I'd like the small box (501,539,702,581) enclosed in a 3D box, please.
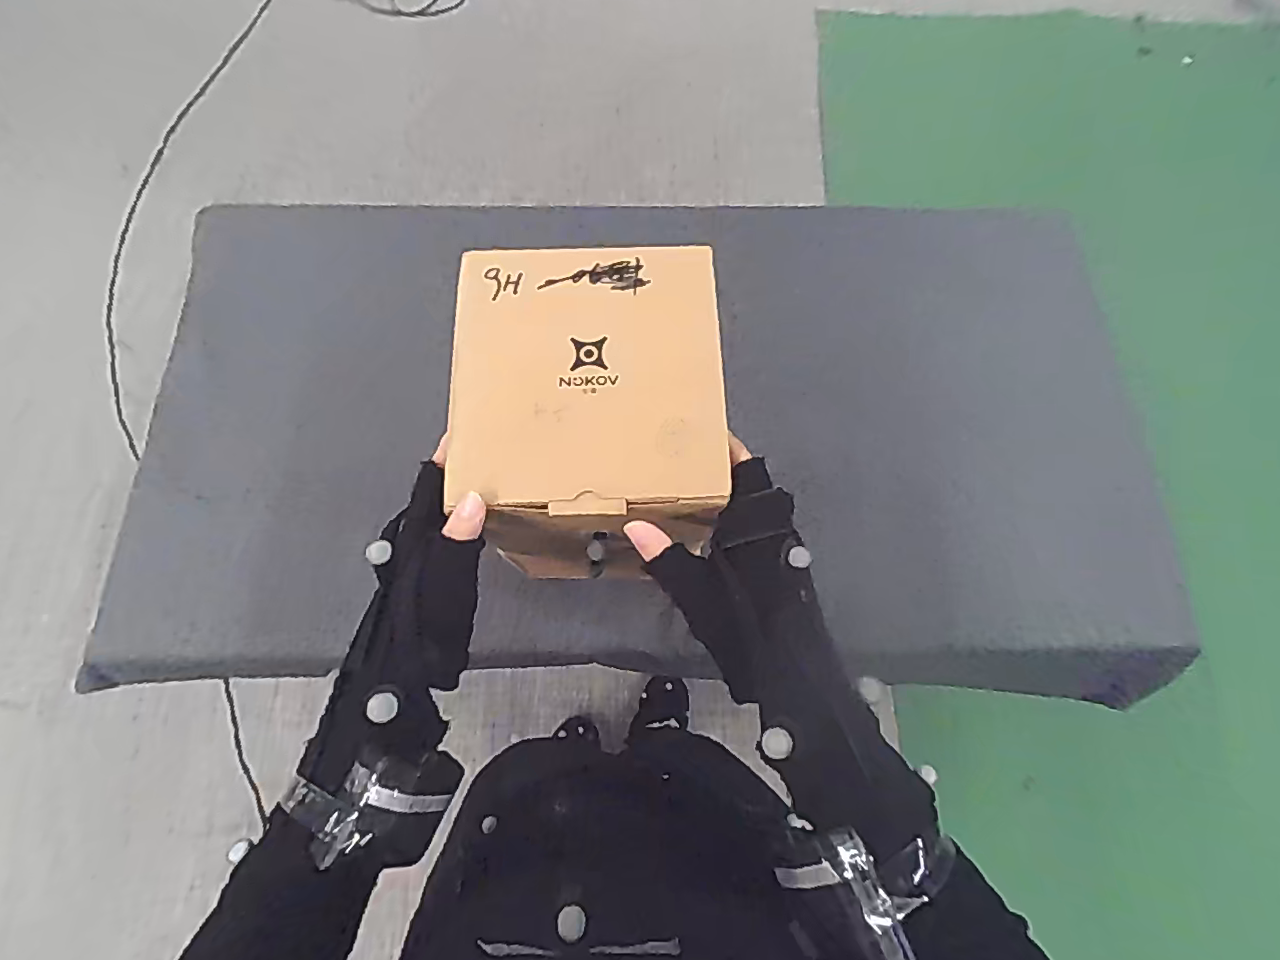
[{"bbox_3d":[-0.034,0.014,0.563,0.179,0.176,0.168,0,73,-2],"label":"small box"}]

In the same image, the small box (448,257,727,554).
[{"bbox_3d":[-0.031,-0.039,0.409,0.168,0.176,0.179,-2,74,-1],"label":"small box"}]
